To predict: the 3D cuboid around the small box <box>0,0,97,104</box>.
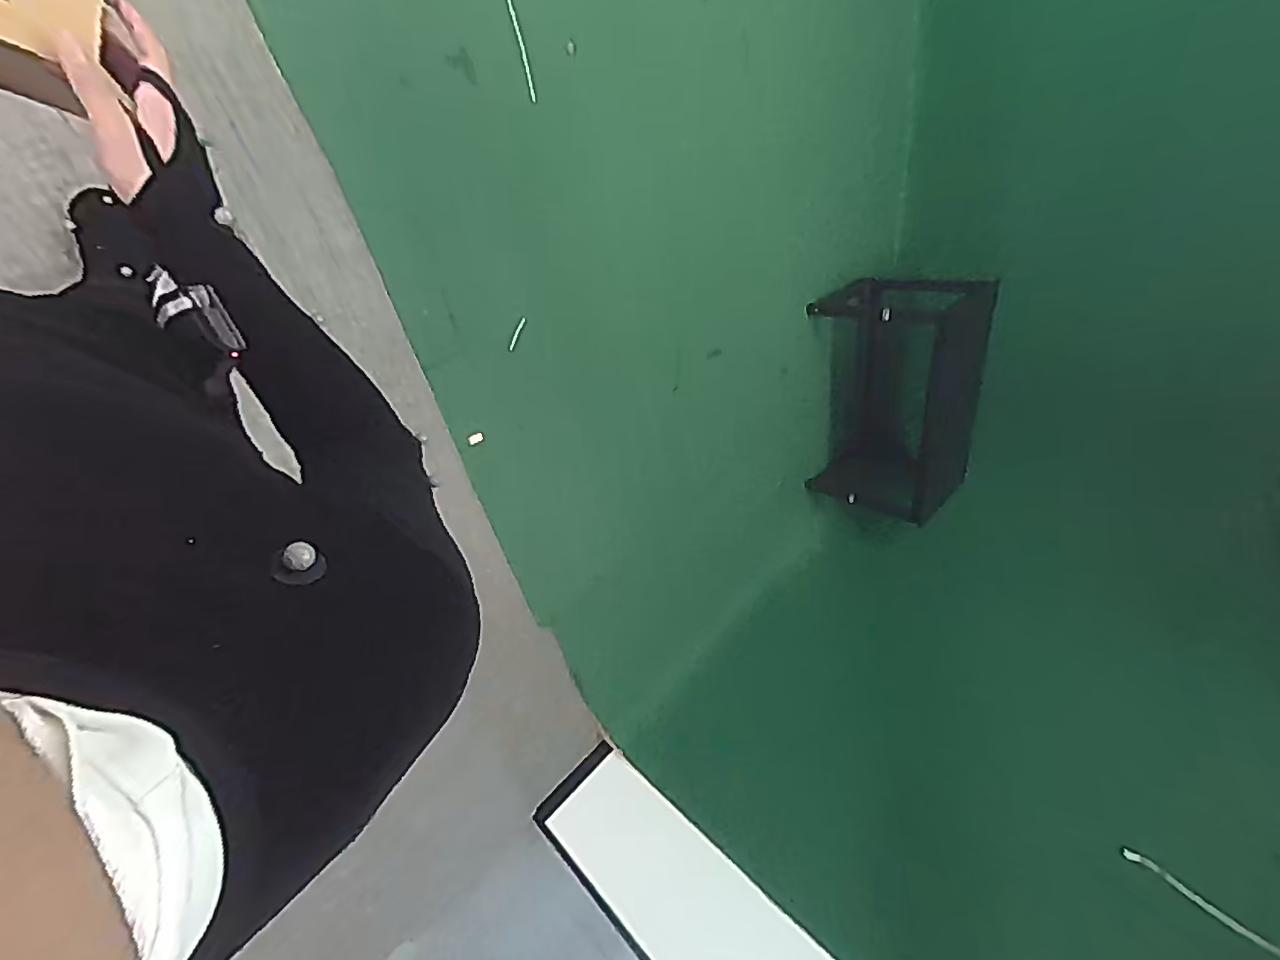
[{"bbox_3d":[-0.501,-0.406,0.382,0.168,0.176,0.179,1,105,-48],"label":"small box"}]
